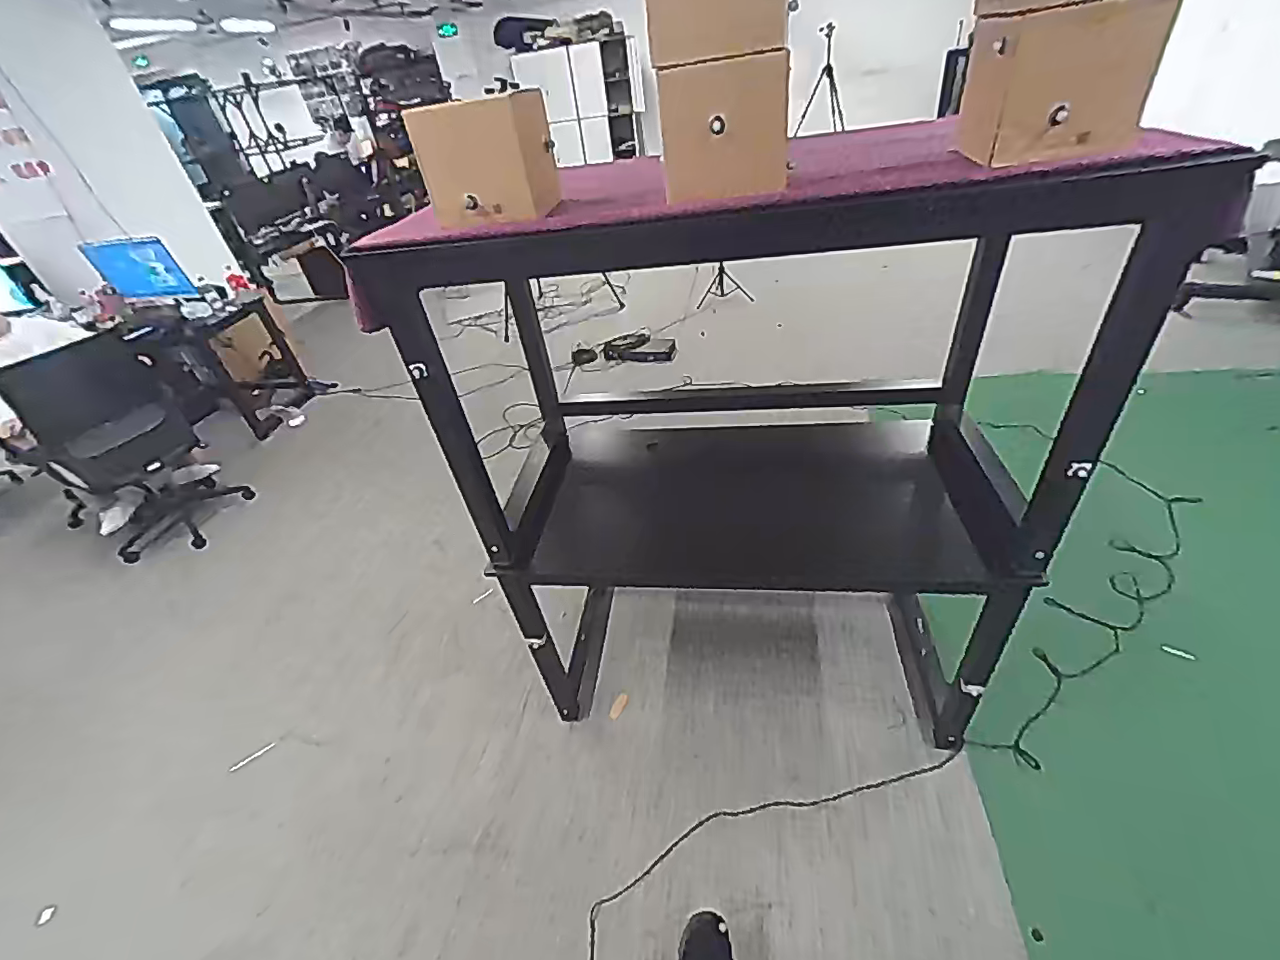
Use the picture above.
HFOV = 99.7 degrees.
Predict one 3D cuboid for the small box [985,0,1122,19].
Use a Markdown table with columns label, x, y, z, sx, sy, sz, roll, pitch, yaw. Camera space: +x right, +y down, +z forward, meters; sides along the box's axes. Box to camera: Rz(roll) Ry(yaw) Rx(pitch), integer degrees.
| label | x | y | z | sx | sy | sz | roll | pitch | yaw |
| --- | --- | --- | --- | --- | --- | --- | --- | --- | --- |
| small box | 0.526 | -0.654 | 0.624 | 0.179 | 0.176 | 0.168 | -1 | 39 | 12 |

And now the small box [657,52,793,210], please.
| label | x | y | z | sx | sy | sz | roll | pitch | yaw |
| --- | --- | --- | --- | --- | --- | --- | --- | --- | --- |
| small box | 0.132 | -0.519 | 0.809 | 0.179 | 0.176 | 0.168 | -1 | 37 | 13 |

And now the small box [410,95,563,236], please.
| label | x | y | z | sx | sy | sz | roll | pitch | yaw |
| --- | --- | --- | --- | --- | --- | --- | --- | --- | --- |
| small box | -0.231 | -0.505 | 0.872 | 0.168 | 0.176 | 0.179 | -2 | 37 | 10 |

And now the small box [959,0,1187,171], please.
| label | x | y | z | sx | sy | sz | roll | pitch | yaw |
| --- | --- | --- | --- | --- | --- | --- | --- | --- | --- |
| small box | 0.556 | -0.531 | 0.730 | 0.168 | 0.176 | 0.179 | -1 | 39 | 12 |
